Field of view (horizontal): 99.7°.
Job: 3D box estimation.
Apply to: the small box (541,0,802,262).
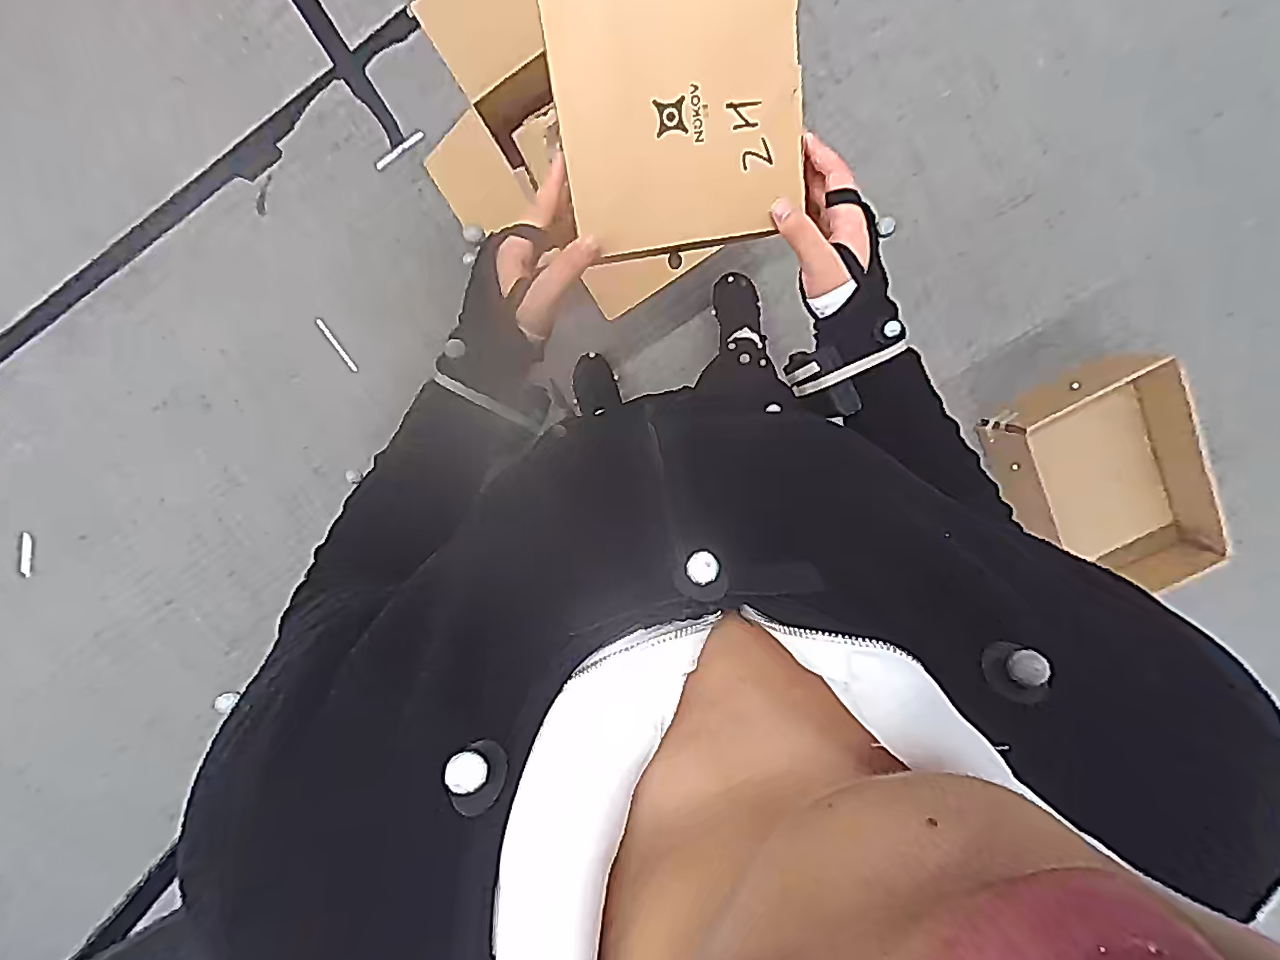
[{"bbox_3d":[0.022,-0.288,0.464,0.179,0.176,0.168,-10,111,-3],"label":"small box"}]
